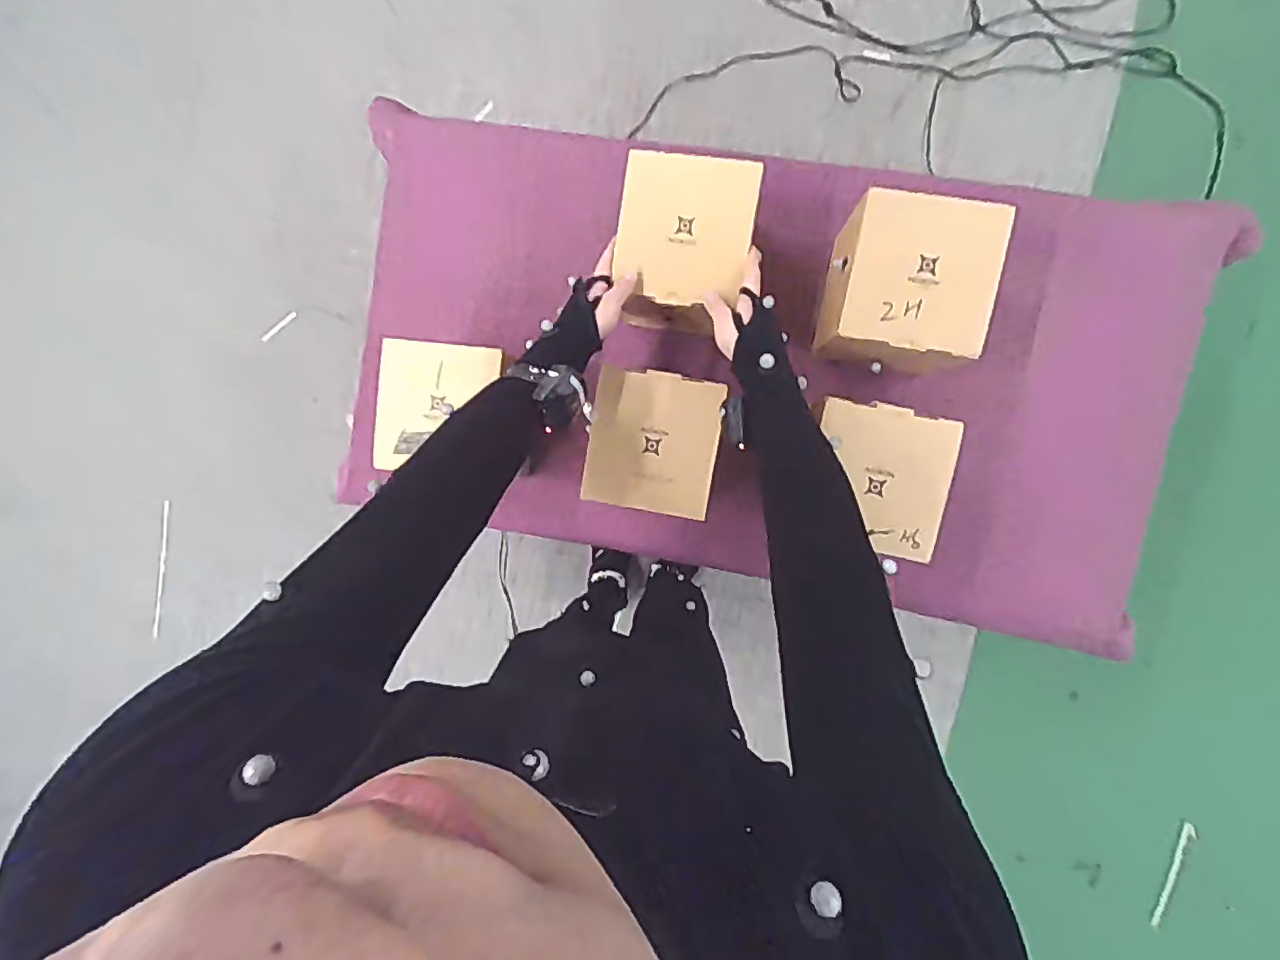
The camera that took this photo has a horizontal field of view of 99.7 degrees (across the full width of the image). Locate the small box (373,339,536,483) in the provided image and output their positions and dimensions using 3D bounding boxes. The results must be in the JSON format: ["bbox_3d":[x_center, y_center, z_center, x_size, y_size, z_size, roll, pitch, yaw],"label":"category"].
[{"bbox_3d":[-0.262,-0.096,0.797,0.168,0.176,0.179,8,93,7],"label":"small box"}]

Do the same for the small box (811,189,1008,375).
[{"bbox_3d":[0.335,-0.246,0.711,0.168,0.176,0.179,12,96,7],"label":"small box"}]

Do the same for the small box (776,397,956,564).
[{"bbox_3d":[0.290,-0.004,0.735,0.168,0.176,0.179,12,95,7],"label":"small box"}]

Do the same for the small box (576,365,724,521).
[{"bbox_3d":[0.020,-0.053,0.768,0.168,0.176,0.179,11,96,7],"label":"small box"}]
